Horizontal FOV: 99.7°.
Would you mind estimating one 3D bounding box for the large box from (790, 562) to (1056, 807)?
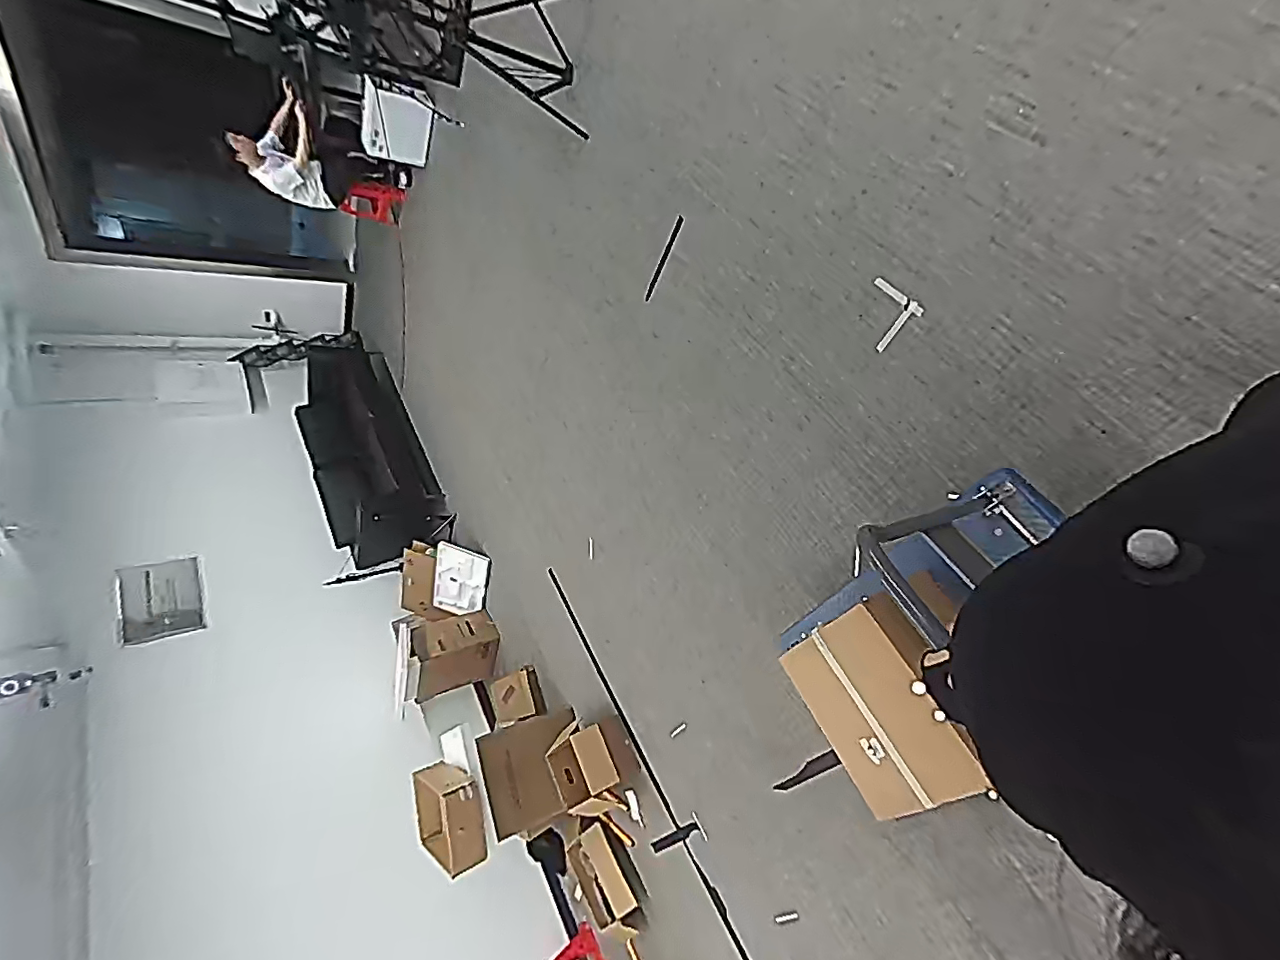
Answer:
[{"bbox_3d":[0.650,0.464,1.279,0.408,0.320,0.320,59,138,25],"label":"large box"}]
